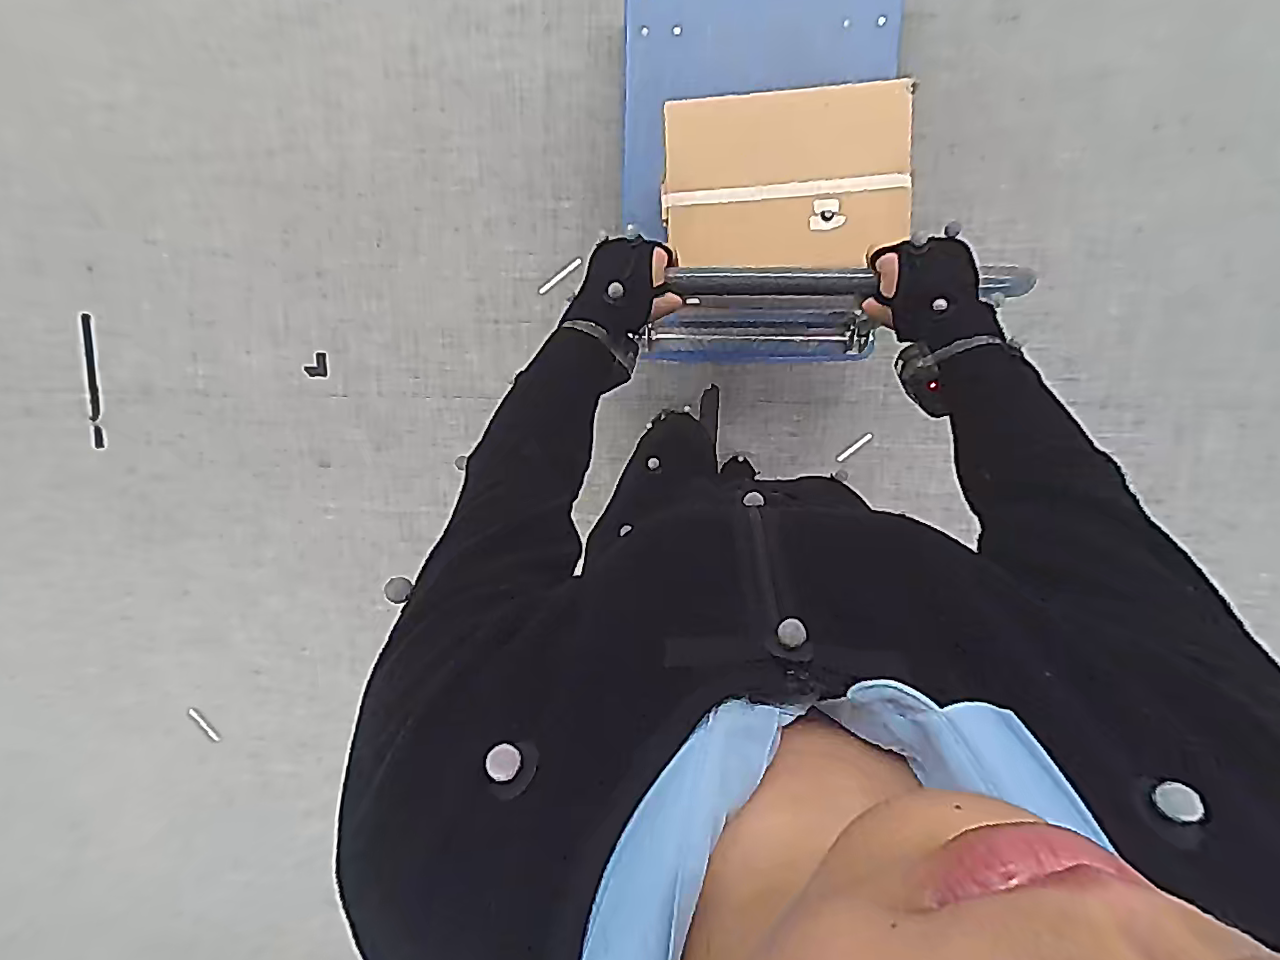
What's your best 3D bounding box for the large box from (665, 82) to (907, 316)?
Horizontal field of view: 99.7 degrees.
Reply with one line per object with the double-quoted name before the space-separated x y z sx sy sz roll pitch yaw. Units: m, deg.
"large box" 0.261 -0.518 1.075 0.408 0.320 0.320 -2 100 5
